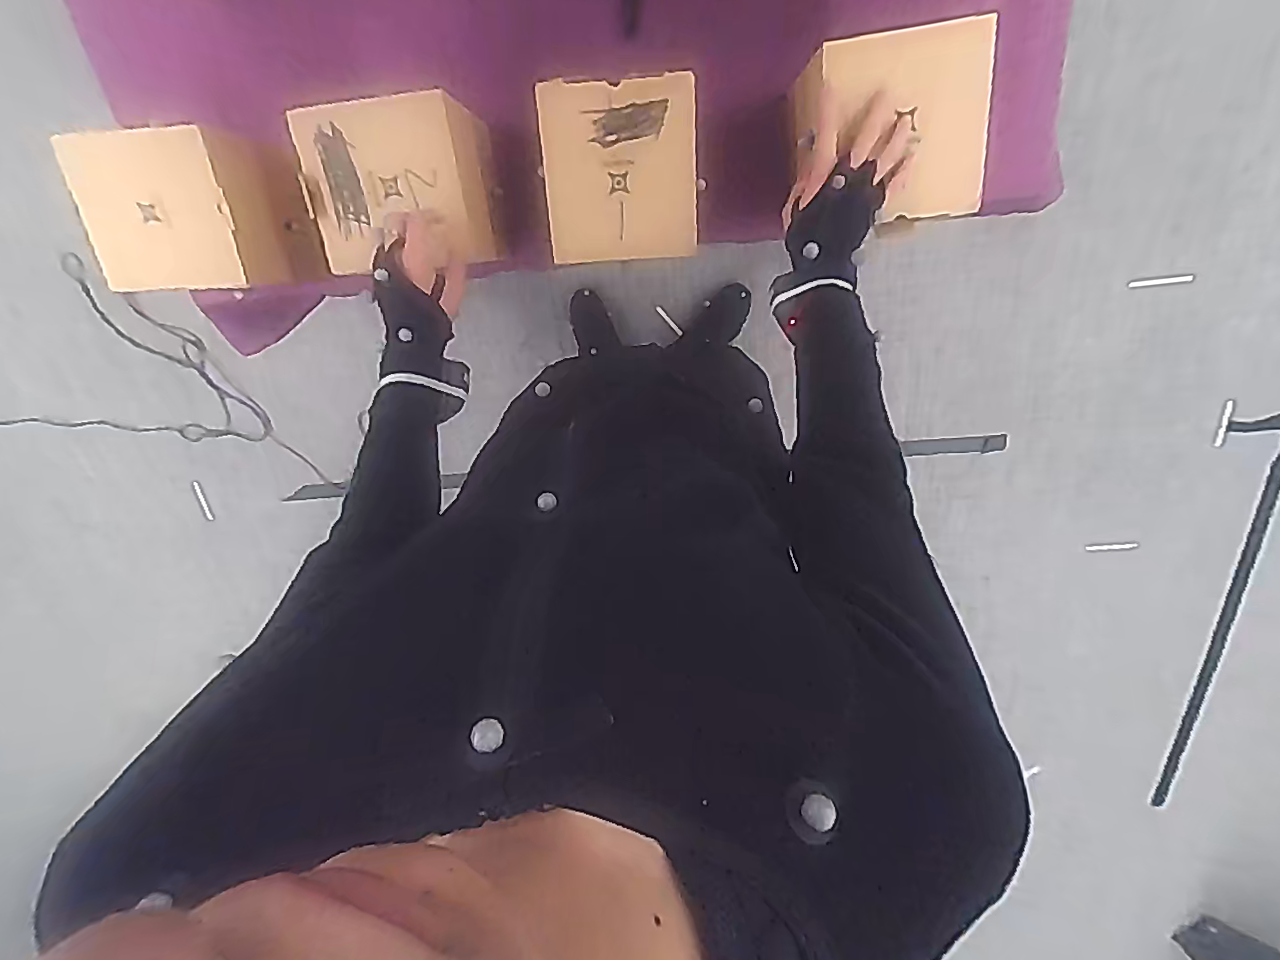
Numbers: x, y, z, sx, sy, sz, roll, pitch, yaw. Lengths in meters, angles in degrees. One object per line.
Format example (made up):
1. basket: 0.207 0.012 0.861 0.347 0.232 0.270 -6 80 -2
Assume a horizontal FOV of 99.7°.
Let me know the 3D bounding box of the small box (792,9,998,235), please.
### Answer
1. small box: 0.276 -0.392 0.627 0.168 0.176 0.179 -6 112 6
